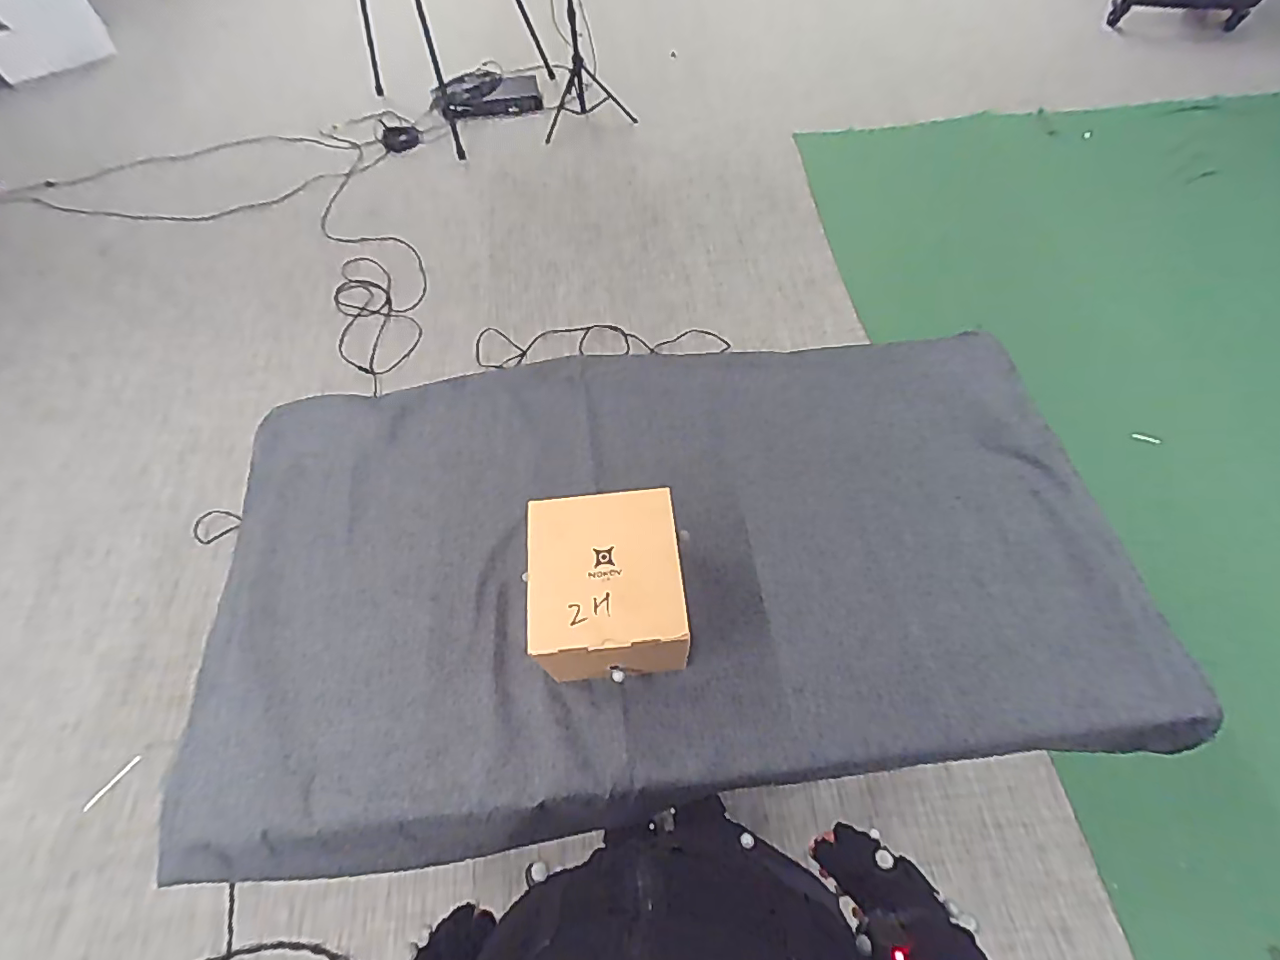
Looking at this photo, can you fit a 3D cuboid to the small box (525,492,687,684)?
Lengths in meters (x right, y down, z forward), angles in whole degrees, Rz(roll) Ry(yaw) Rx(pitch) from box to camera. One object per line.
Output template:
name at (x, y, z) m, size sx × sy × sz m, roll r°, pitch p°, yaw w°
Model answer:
small box at (-0.038, 0.135, 0.650) m, size 0.168 × 0.176 × 0.179 m, roll -6°, pitch 61°, yaw 0°
